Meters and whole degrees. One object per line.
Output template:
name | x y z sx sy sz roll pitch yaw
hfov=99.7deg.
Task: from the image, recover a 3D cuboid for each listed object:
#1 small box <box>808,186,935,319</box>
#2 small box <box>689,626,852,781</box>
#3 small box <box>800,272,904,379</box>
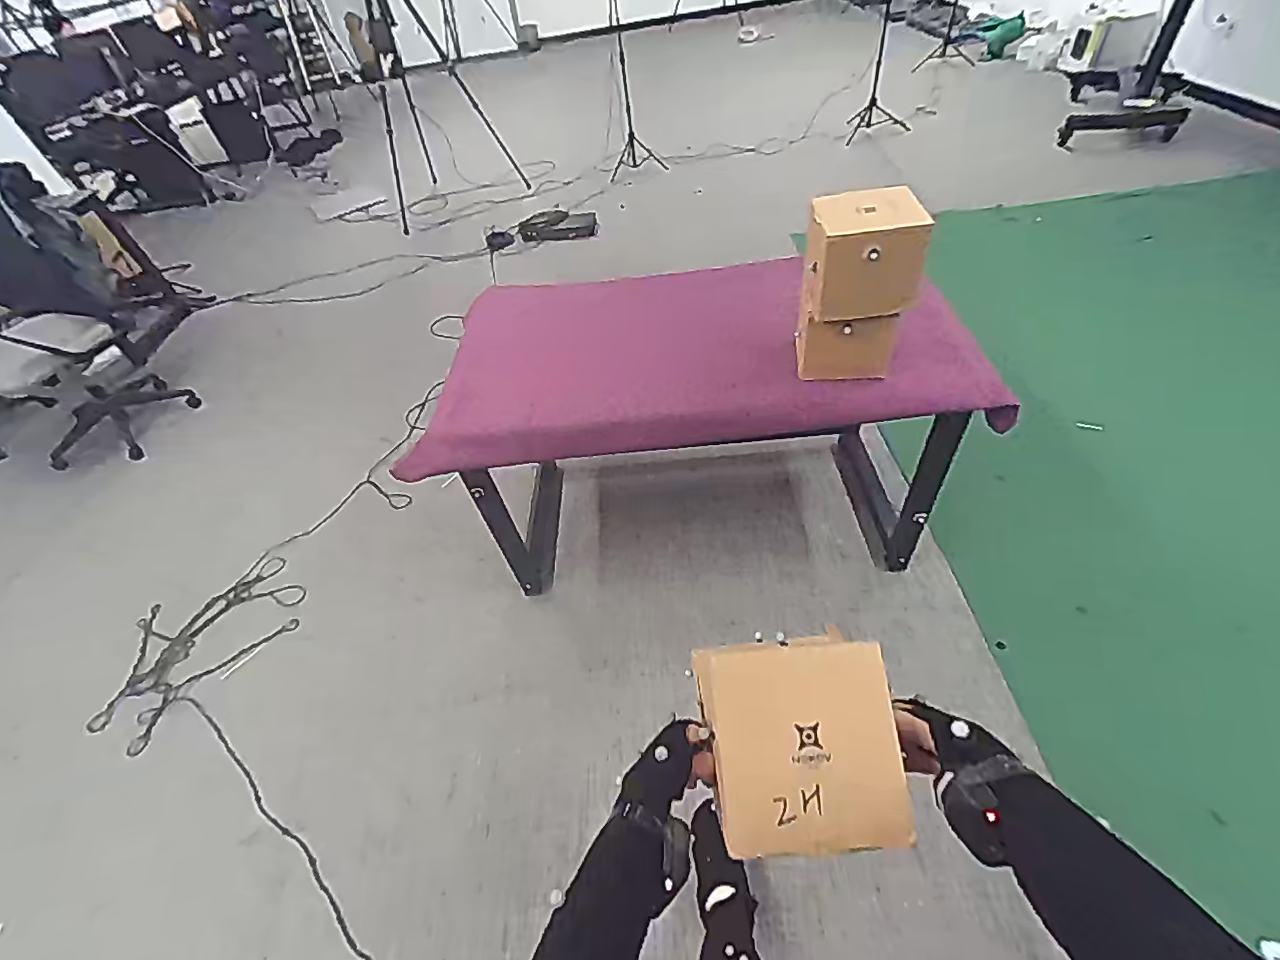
small box | 0.411 -0.414 0.997 0.179 0.176 0.168 -3 47 8
small box | 0.162 0.296 0.737 0.179 0.176 0.168 -7 73 1
small box | 0.435 -0.326 1.136 0.179 0.176 0.168 1 48 12
